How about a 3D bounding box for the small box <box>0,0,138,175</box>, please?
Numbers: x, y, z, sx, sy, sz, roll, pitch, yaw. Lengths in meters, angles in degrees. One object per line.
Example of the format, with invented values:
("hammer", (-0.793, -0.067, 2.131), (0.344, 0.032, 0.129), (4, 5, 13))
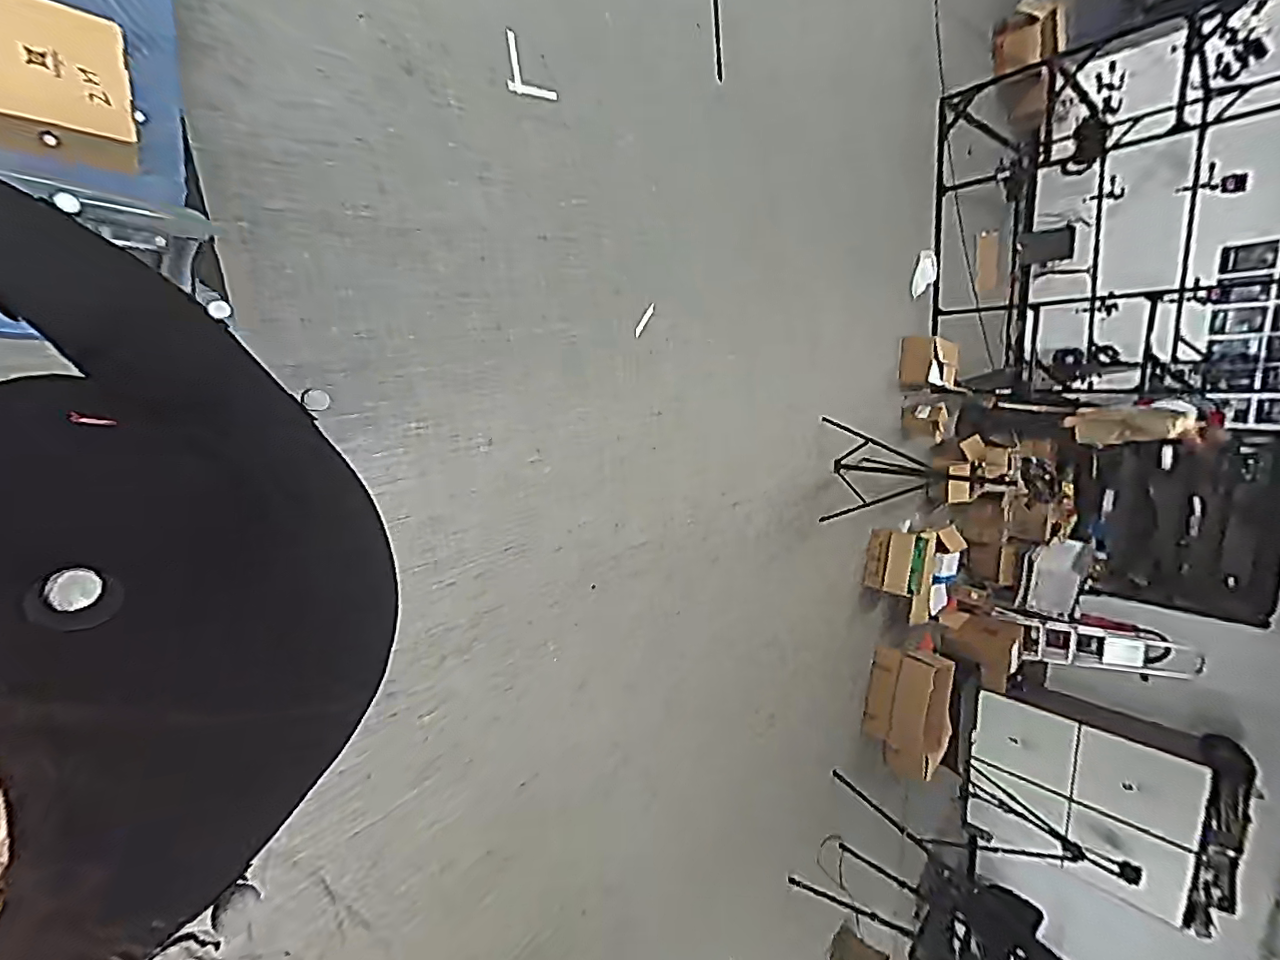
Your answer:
("small box", (-0.893, -0.590, 0.822), (0.179, 0.176, 0.168), (-9, 102, -42))
